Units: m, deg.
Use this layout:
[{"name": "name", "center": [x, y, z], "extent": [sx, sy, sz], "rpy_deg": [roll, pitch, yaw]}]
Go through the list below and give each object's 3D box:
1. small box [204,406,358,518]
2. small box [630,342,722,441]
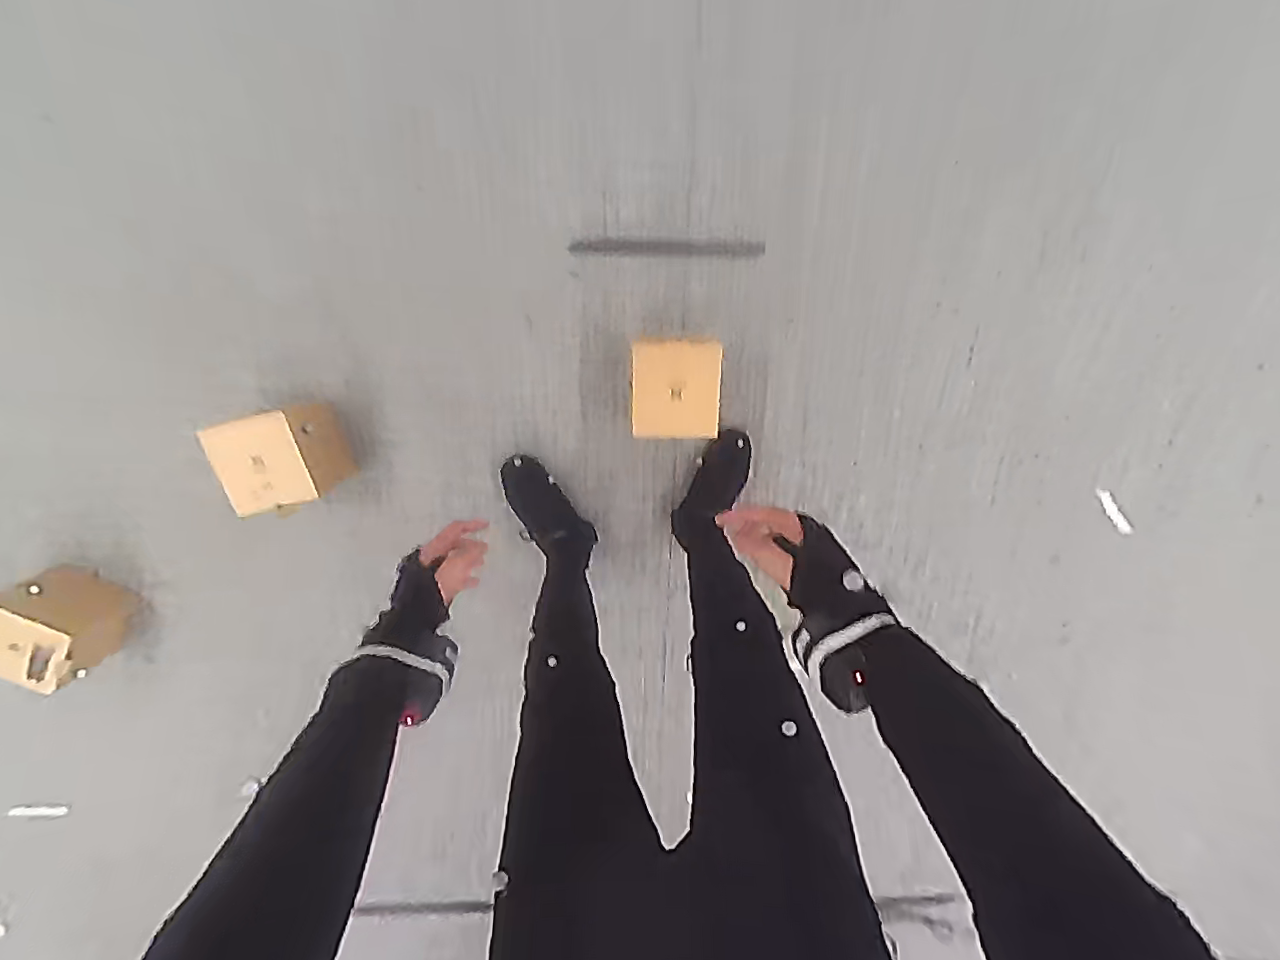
[{"name": "small box", "center": [-0.708, -0.046, 1.089], "extent": [0.168, 0.176, 0.179], "rpy_deg": [-13, 108, 1]}, {"name": "small box", "center": [0.067, -0.181, 1.087], "extent": [0.168, 0.176, 0.179], "rpy_deg": [0, 107, -2]}]
